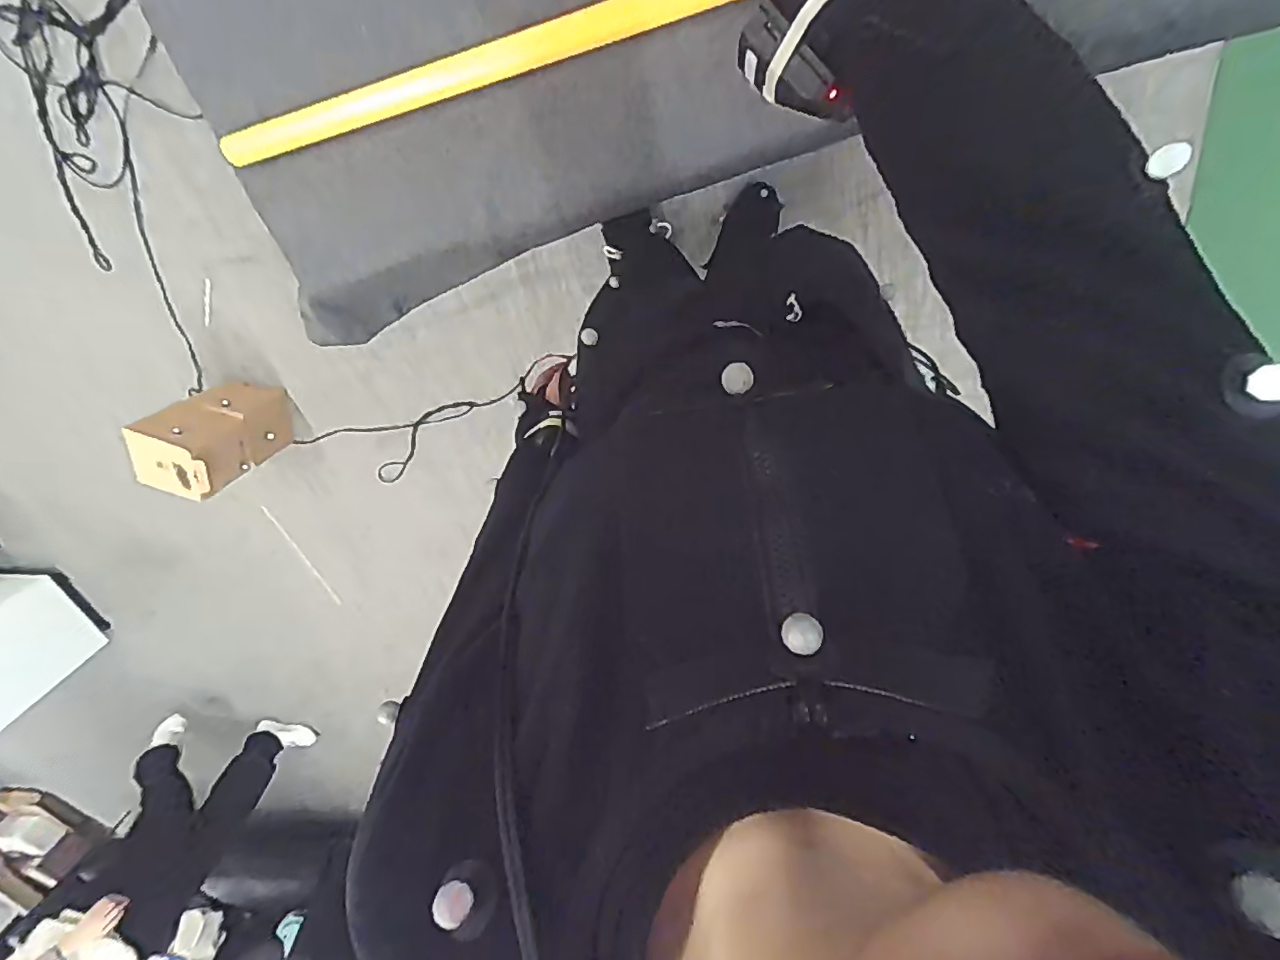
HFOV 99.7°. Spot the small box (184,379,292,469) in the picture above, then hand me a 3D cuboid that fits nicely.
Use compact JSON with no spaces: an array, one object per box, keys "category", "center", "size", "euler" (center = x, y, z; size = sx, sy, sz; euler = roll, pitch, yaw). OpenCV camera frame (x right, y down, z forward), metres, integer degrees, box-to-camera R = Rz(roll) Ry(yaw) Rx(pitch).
[{"category":"small box","center":[-1.127,-0.162,1.534],"size":[0.168,0.176,0.179],"euler":[14,123,1]}]

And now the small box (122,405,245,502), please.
[{"category":"small box","center":[-1.162,-0.074,1.399],"size":[0.179,0.176,0.168],"euler":[19,123,-1]}]
